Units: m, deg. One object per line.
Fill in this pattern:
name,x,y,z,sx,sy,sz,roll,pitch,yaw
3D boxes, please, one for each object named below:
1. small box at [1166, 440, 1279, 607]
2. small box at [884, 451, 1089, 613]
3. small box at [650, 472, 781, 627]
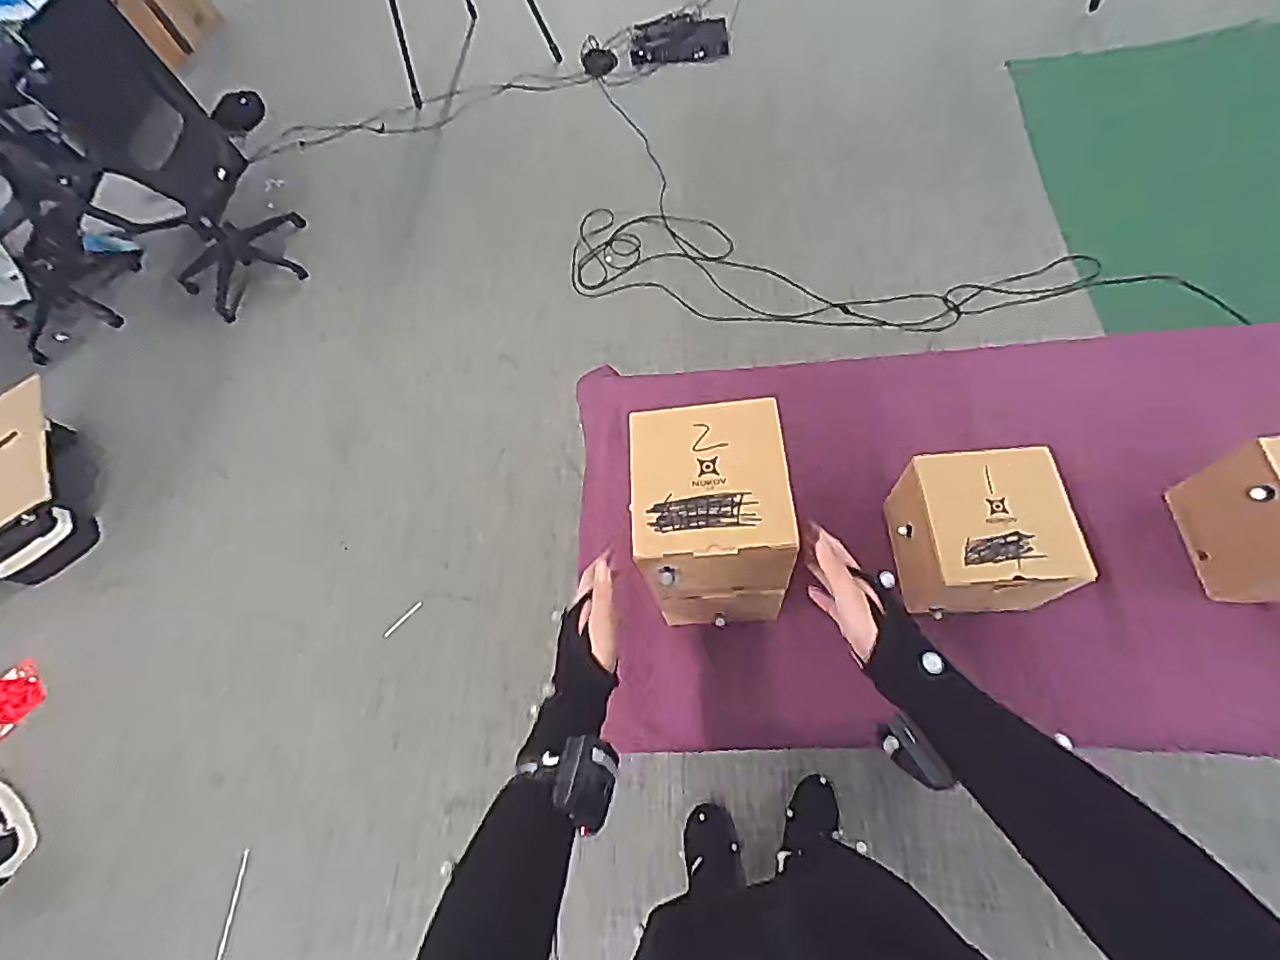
small box,0.834,0.059,0.673,0.179,0.176,0.168,-3,64,9
small box,0.448,0.080,0.735,0.168,0.176,0.179,-4,63,8
small box,0.107,0.106,0.785,0.168,0.176,0.179,-5,64,8
